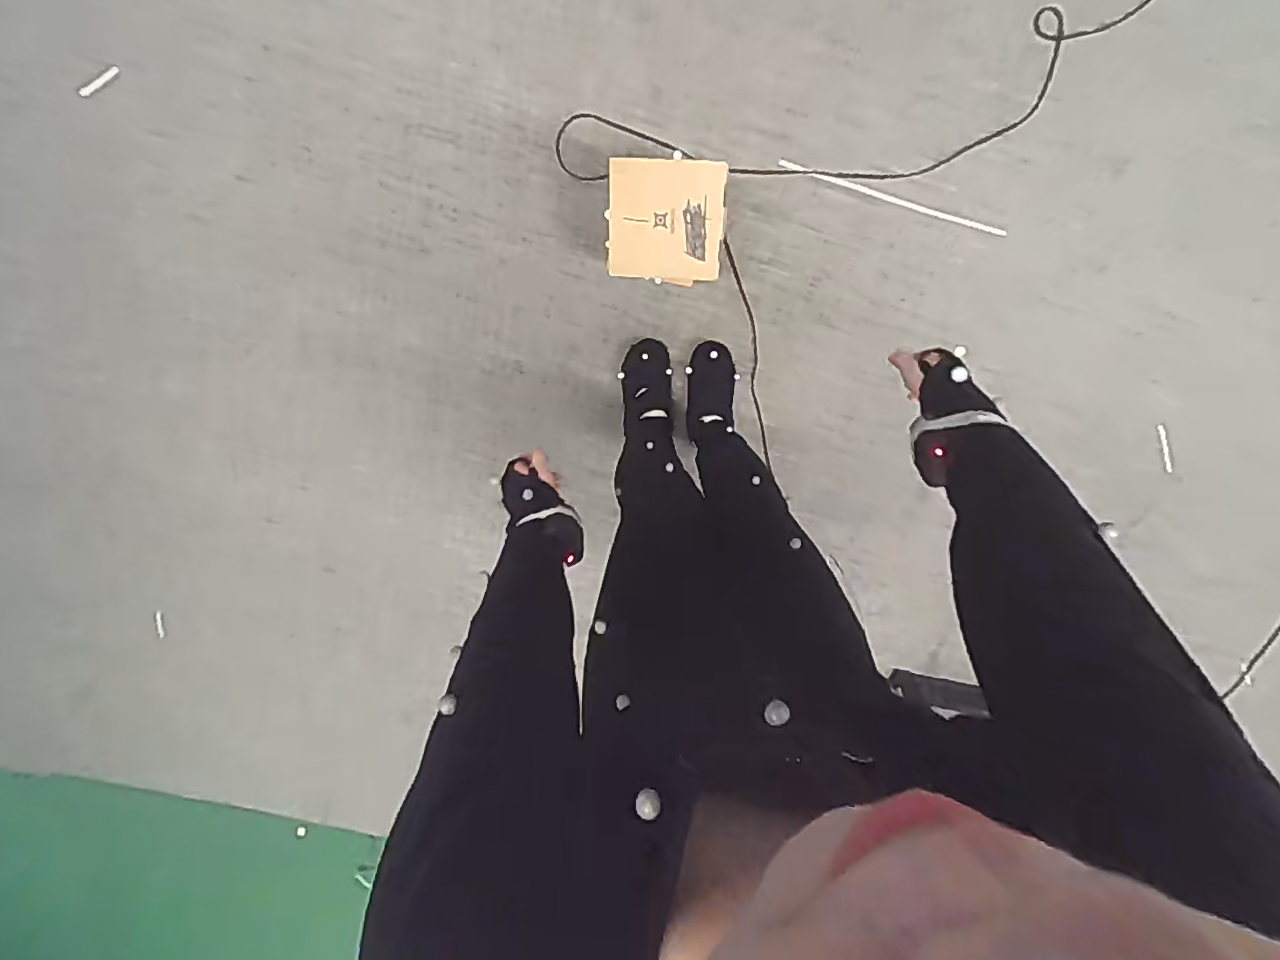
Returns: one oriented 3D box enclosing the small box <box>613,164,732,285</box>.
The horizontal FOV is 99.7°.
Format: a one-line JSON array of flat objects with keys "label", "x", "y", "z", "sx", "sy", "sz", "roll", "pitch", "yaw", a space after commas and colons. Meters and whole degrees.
[{"label": "small box", "x": 0.051, "y": -0.424, "z": 0.899, "sx": 0.179, "sy": 0.176, "sz": 0.168, "roll": 3, "pitch": 116, "yaw": 3}]
